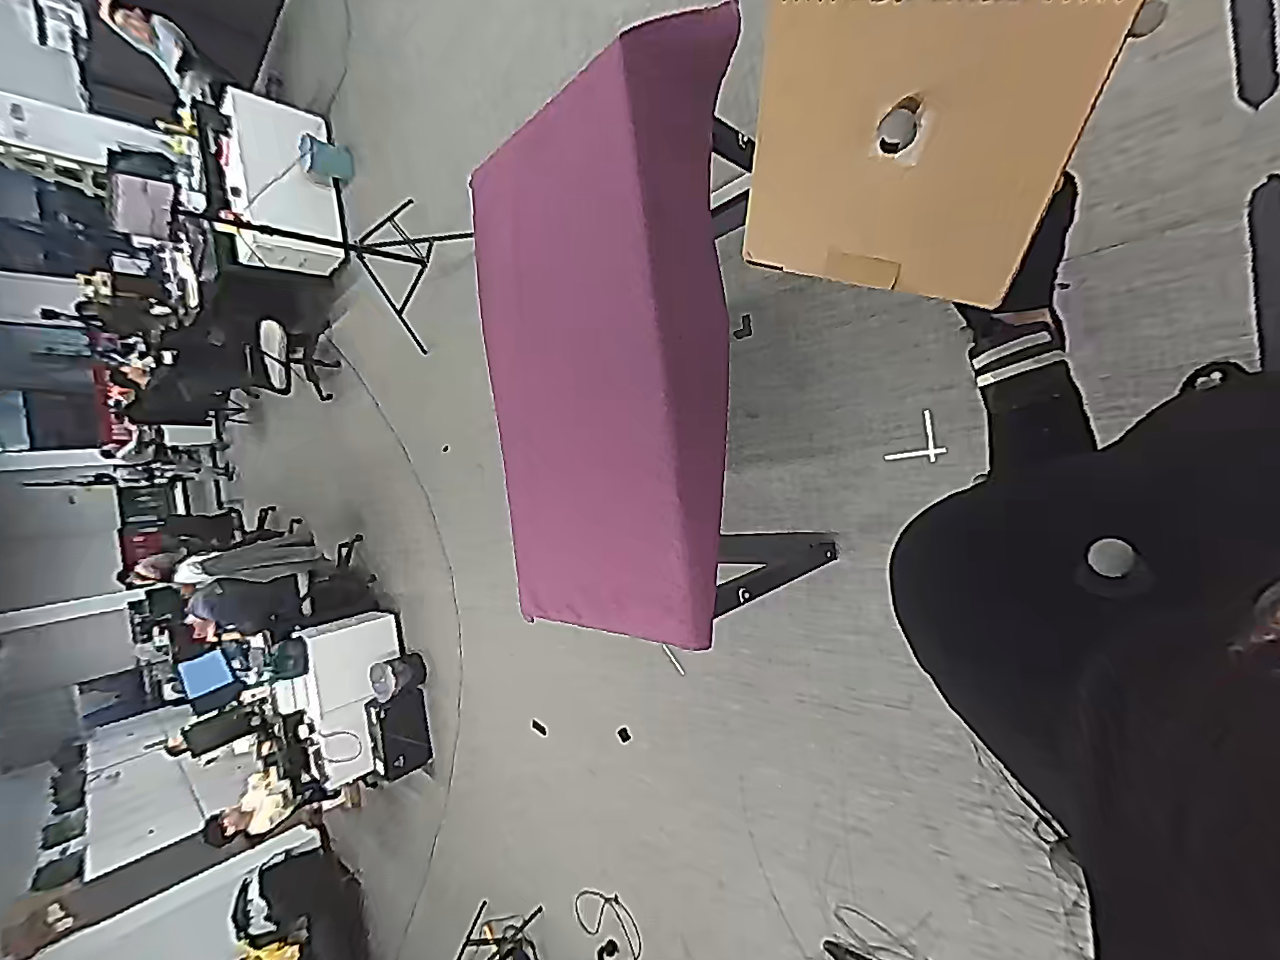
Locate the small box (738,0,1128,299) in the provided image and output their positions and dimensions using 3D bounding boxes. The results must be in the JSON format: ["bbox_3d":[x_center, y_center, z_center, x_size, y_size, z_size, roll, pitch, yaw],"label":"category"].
[{"bbox_3d":[0.174,-0.239,0.334,0.168,0.179,0.176,23,139,23],"label":"small box"}]
